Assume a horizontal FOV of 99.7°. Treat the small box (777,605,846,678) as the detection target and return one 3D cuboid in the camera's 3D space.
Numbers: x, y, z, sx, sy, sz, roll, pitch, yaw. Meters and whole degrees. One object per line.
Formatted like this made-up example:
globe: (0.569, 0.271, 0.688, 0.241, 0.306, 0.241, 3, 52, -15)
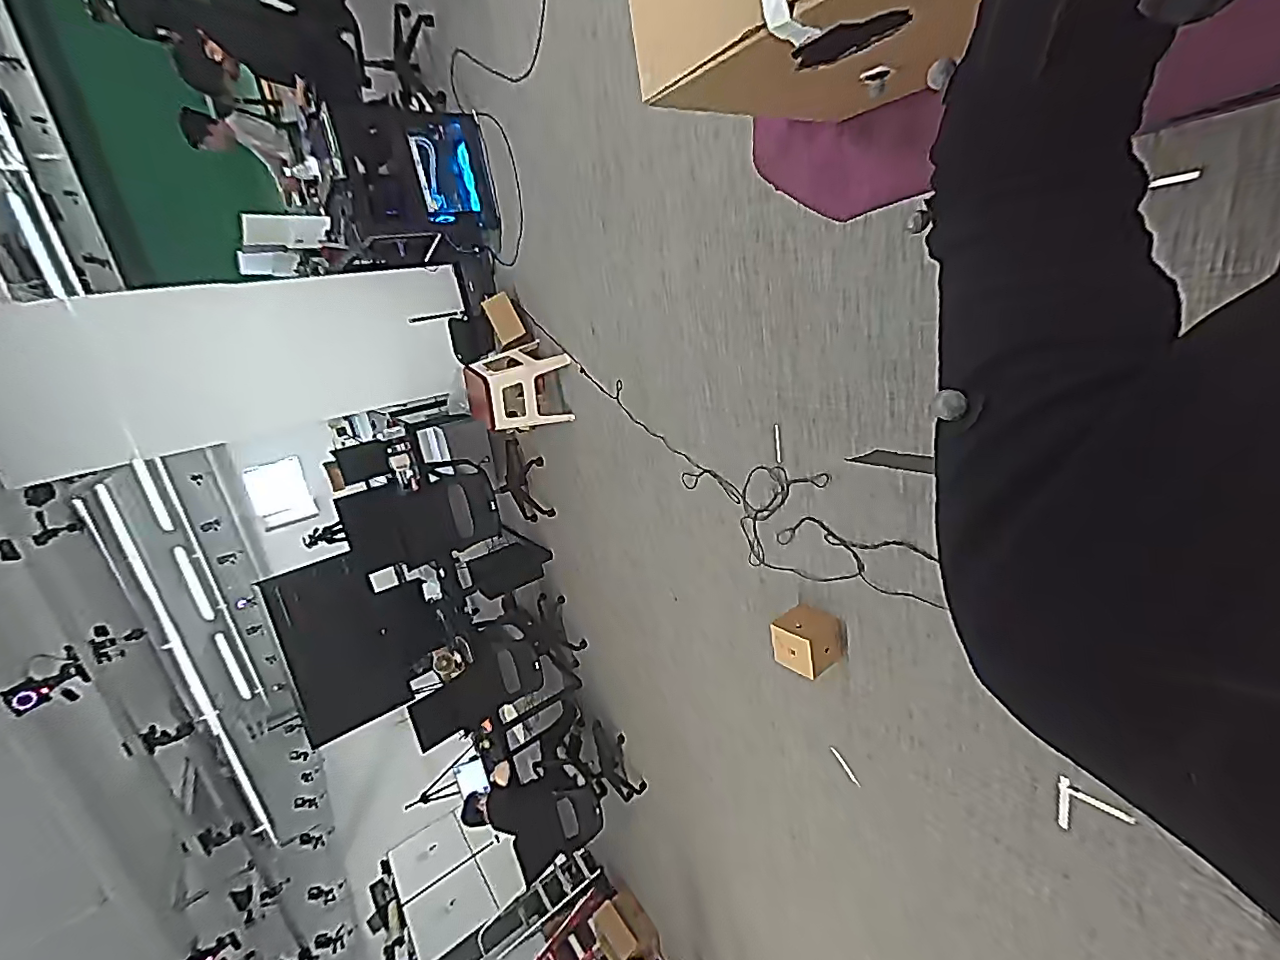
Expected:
small box: (0.628, 0.577, 1.958, 0.179, 0.176, 0.168, 14, 119, 54)
